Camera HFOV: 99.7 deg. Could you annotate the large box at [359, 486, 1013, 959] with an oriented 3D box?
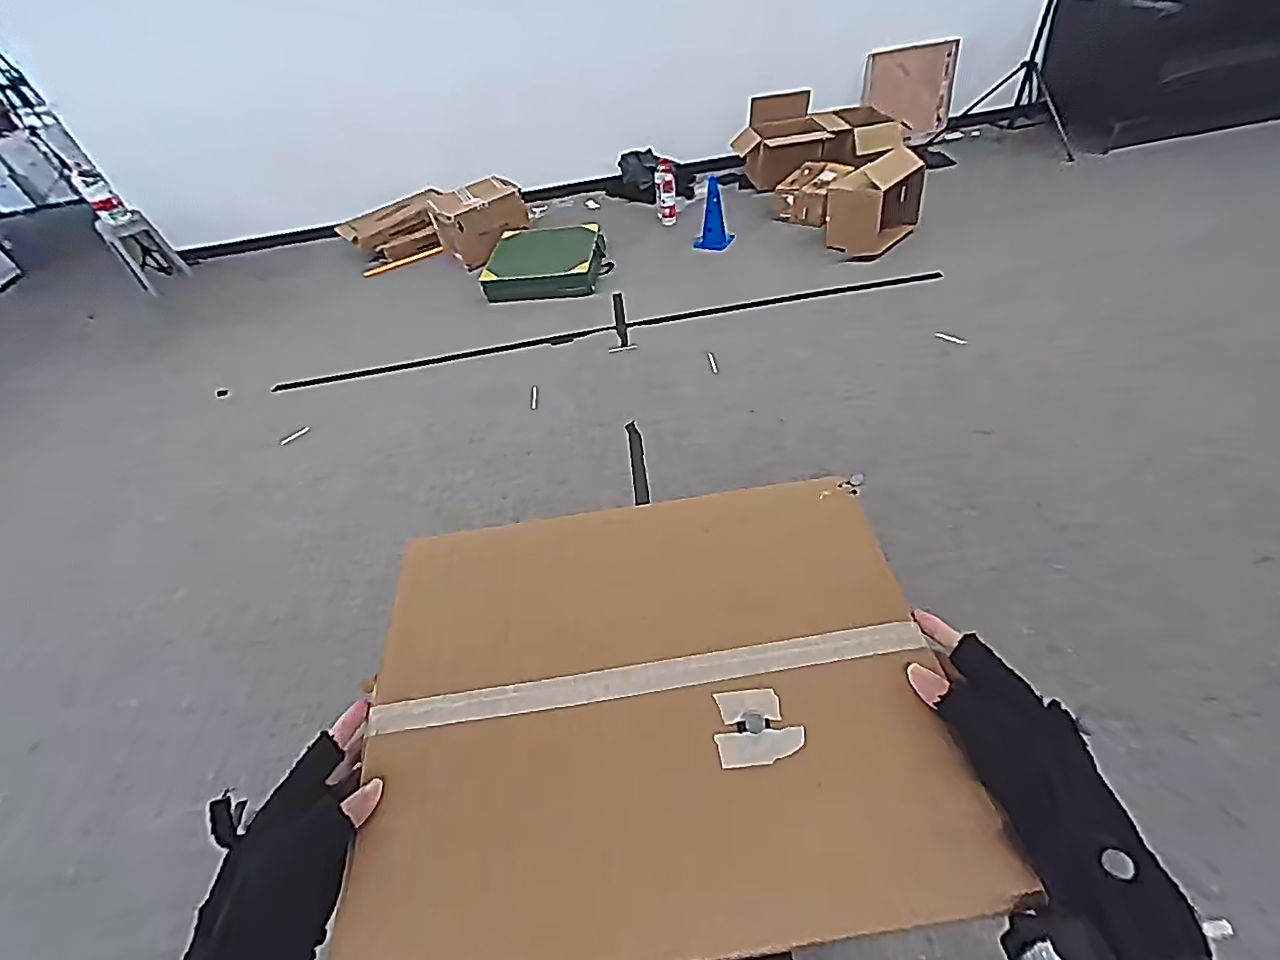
[{"bbox_3d":[0.020,0.245,0.524,0.408,0.320,0.320,-8,51,-2],"label":"large box"}]
